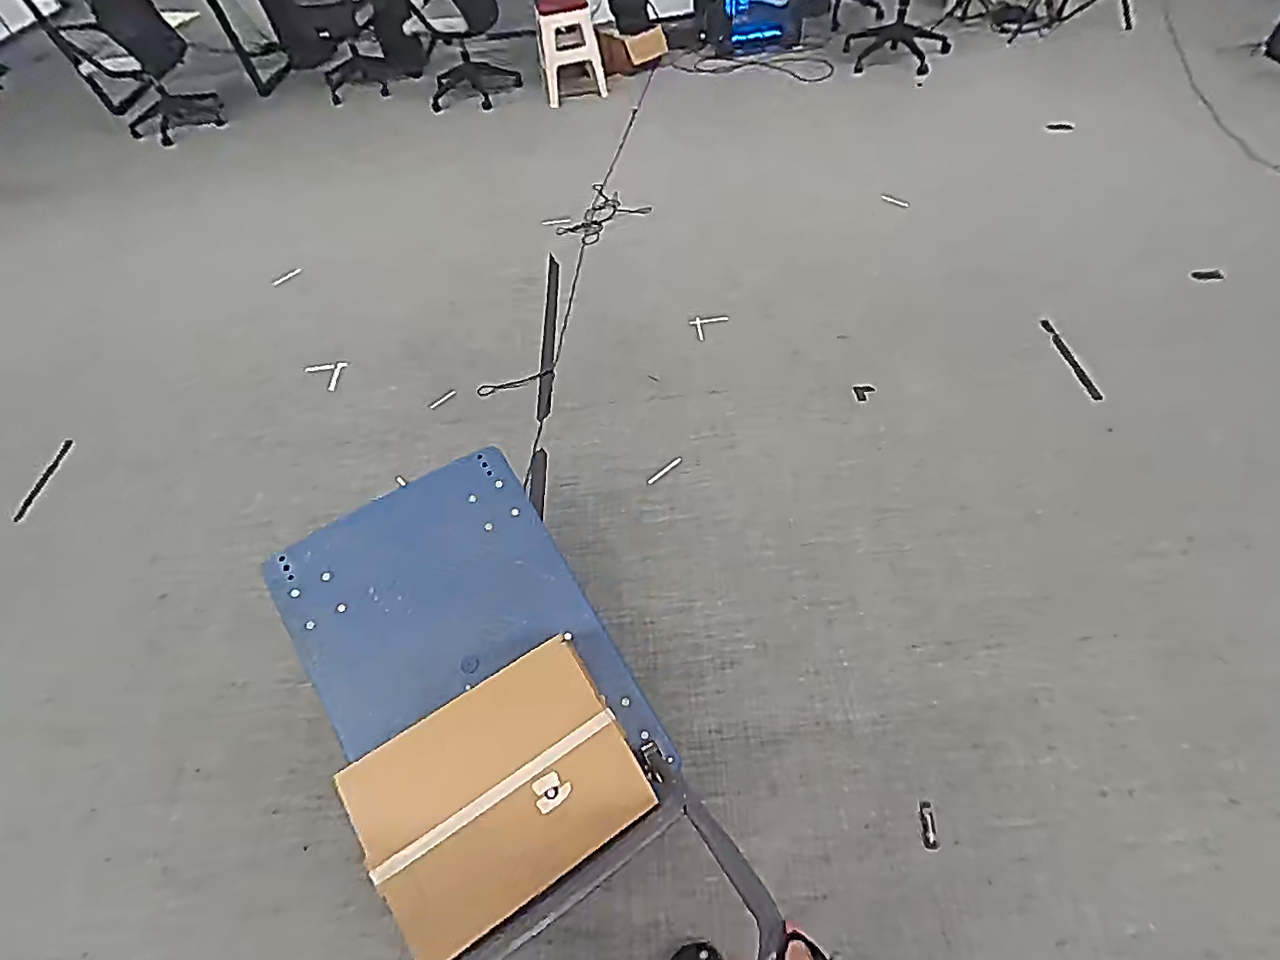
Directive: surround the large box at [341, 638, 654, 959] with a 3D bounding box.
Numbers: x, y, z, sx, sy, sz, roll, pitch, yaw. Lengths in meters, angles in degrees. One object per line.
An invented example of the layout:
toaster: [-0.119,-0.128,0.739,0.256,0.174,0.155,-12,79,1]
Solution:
large box: [-0.238,0.542,0.992,0.408,0.320,0.320,-30,79,-16]
